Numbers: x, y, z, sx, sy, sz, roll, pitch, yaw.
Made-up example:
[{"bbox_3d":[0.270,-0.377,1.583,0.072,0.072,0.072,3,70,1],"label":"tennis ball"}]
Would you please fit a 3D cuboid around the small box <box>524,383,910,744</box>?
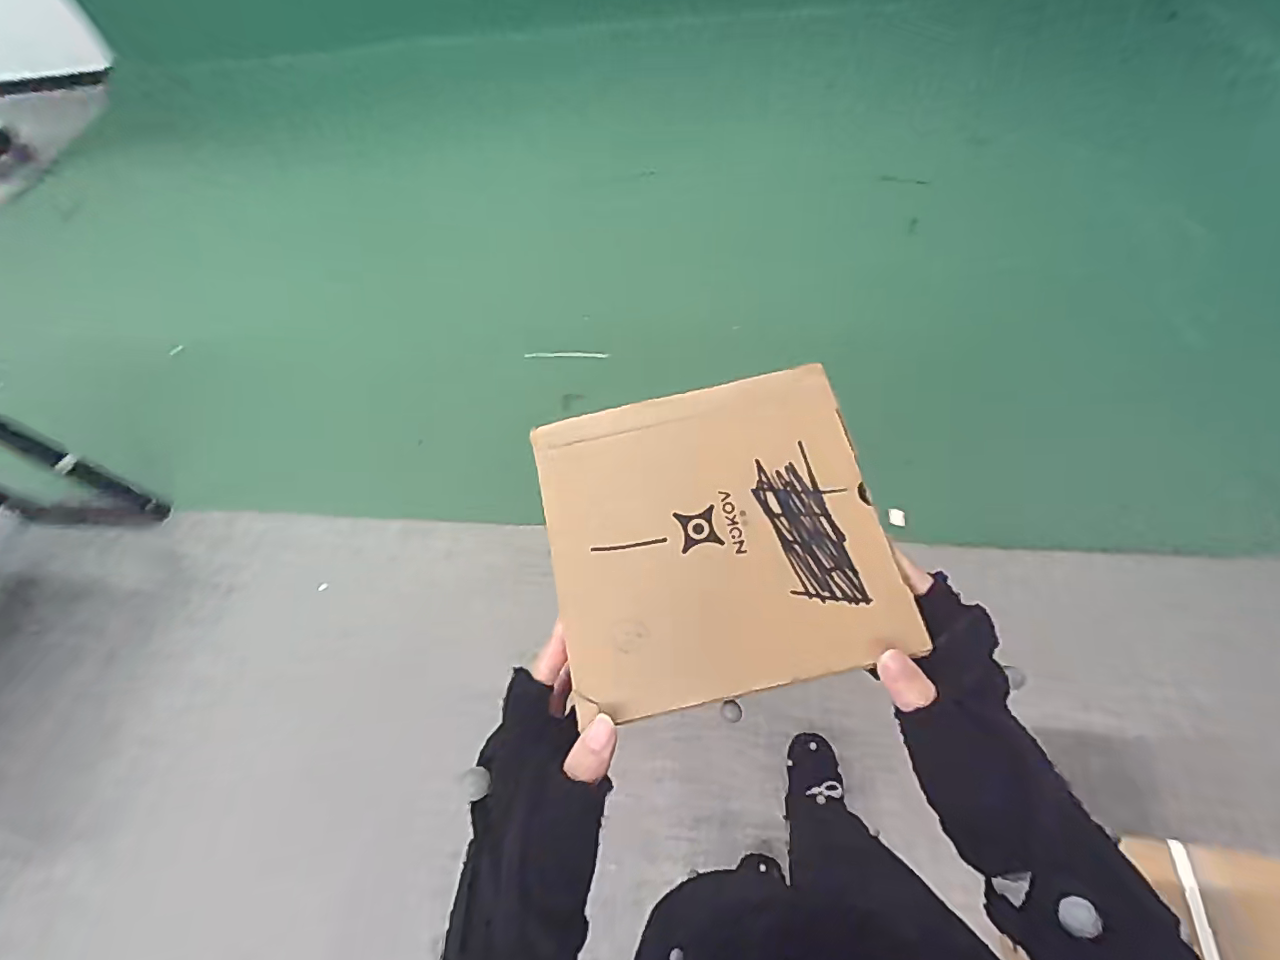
[{"bbox_3d":[0.036,0.062,0.363,0.179,0.176,0.168,-13,69,-2],"label":"small box"}]
